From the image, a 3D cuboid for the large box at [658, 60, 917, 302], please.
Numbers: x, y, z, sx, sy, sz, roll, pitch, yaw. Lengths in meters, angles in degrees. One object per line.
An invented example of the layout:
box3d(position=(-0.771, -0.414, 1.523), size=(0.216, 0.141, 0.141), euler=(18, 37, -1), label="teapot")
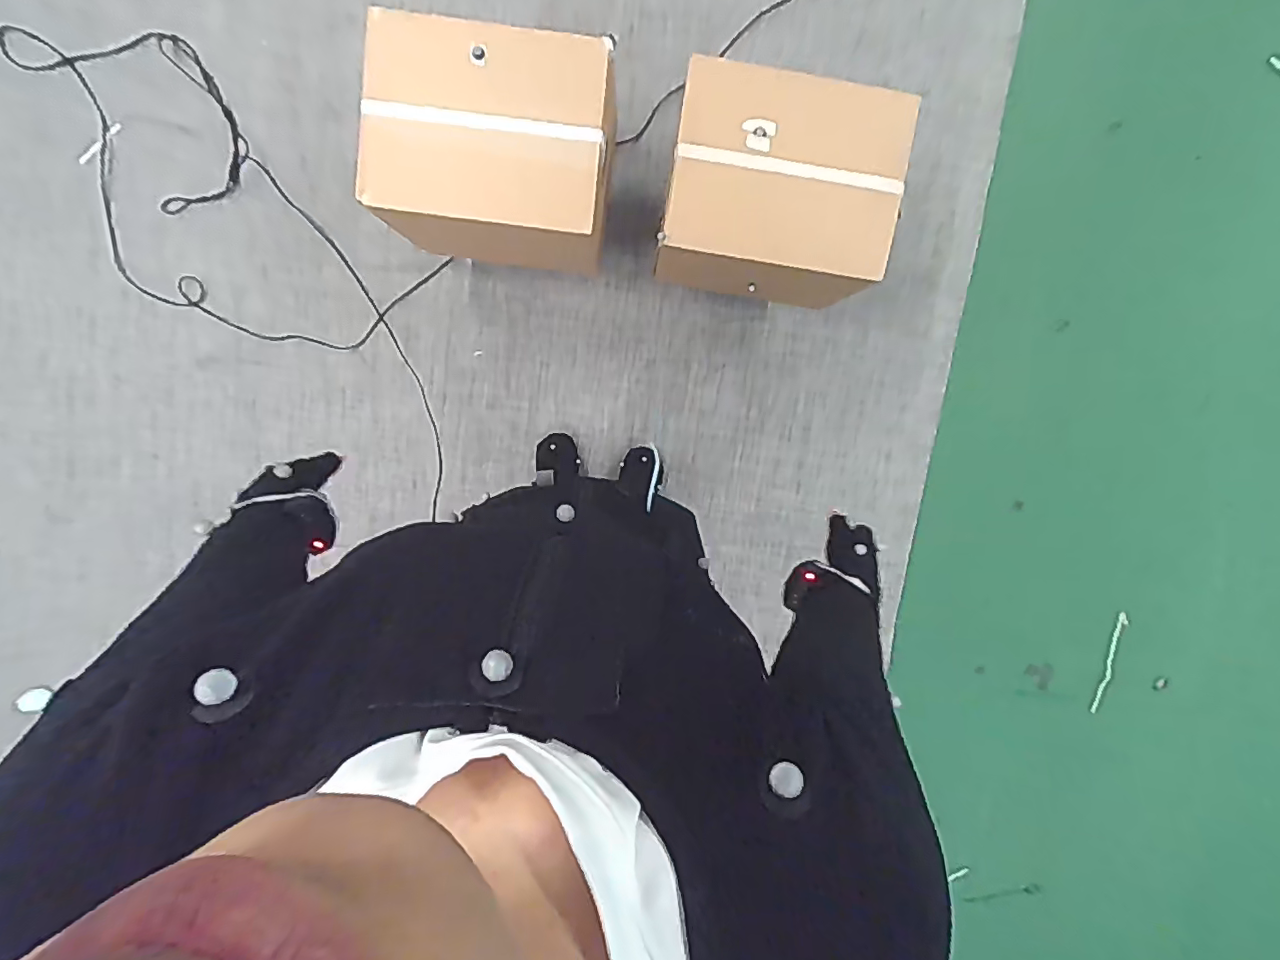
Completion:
box3d(position=(0.263, -0.566, 1.099), size=(0.408, 0.320, 0.320), euler=(9, 98, -2), label="large box")
